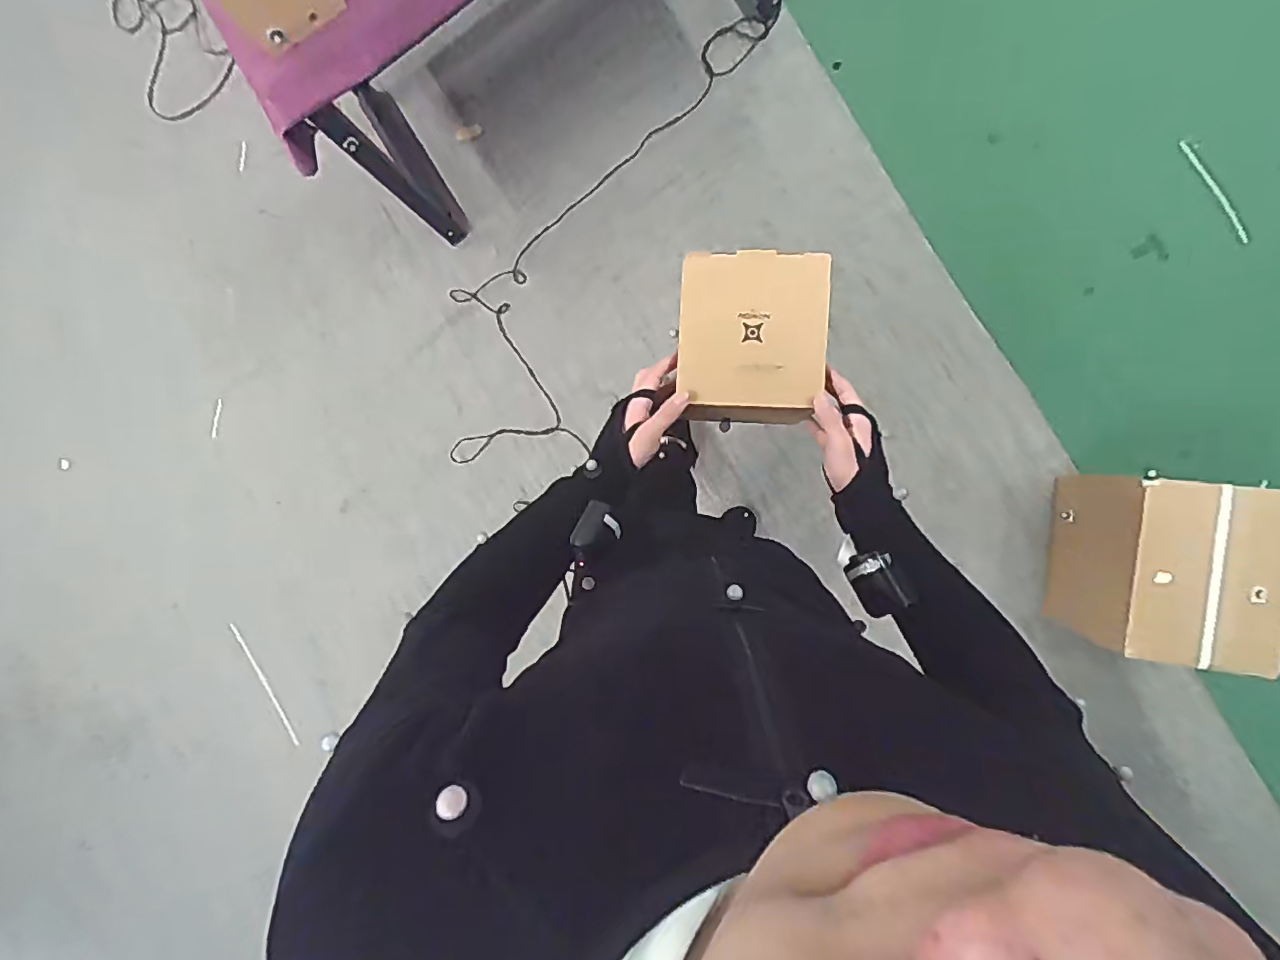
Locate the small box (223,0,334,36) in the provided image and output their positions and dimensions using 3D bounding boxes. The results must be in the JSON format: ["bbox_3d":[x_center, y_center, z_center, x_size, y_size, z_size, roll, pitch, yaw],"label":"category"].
[{"bbox_3d":[-0.638,-0.882,0.880,0.168,0.176,0.179,-28,86,7],"label":"small box"}]

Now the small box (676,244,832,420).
[{"bbox_3d":[0.133,-0.174,0.681,0.168,0.176,0.179,3,91,6],"label":"small box"}]
